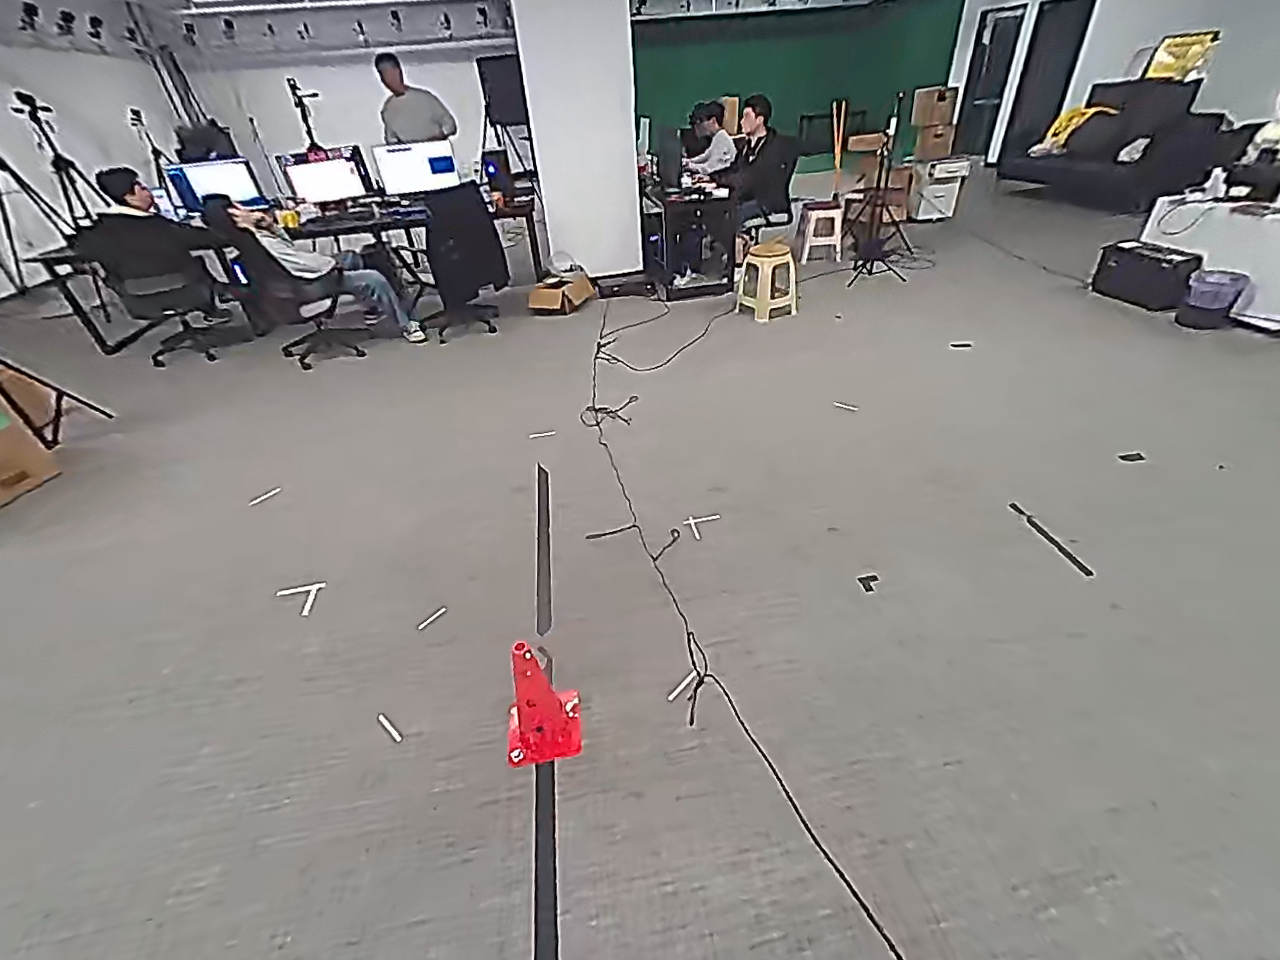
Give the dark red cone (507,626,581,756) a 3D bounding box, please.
[{"bbox_3d":[-0.277,0.529,1.411,0.201,0.394,0.202,-8,35,-6],"label":"dark red cone"}]
